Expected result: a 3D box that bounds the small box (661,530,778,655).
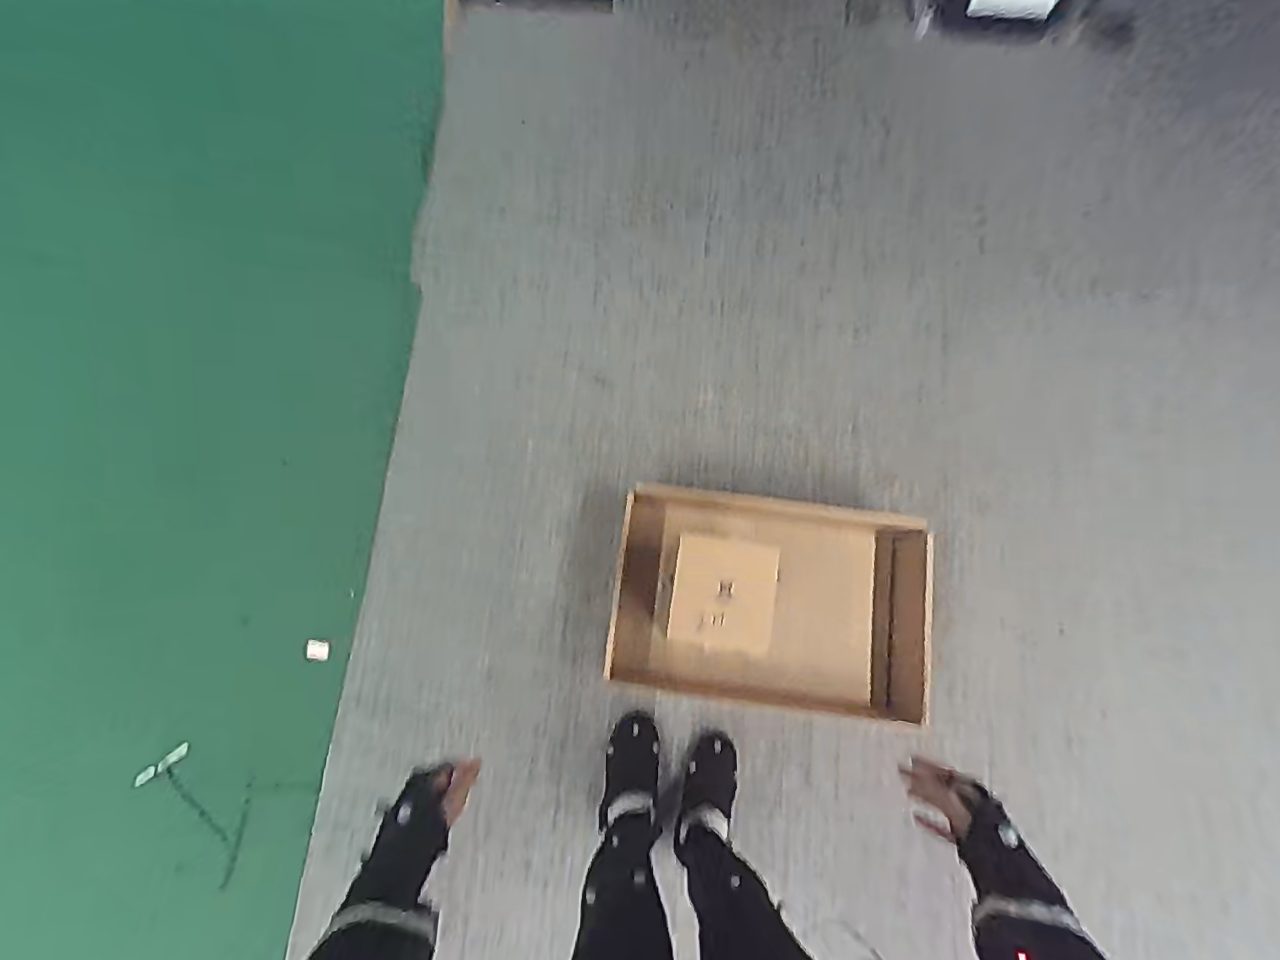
[{"bbox_3d":[0.130,0.194,0.948,0.168,0.176,0.179,10,79,2],"label":"small box"}]
